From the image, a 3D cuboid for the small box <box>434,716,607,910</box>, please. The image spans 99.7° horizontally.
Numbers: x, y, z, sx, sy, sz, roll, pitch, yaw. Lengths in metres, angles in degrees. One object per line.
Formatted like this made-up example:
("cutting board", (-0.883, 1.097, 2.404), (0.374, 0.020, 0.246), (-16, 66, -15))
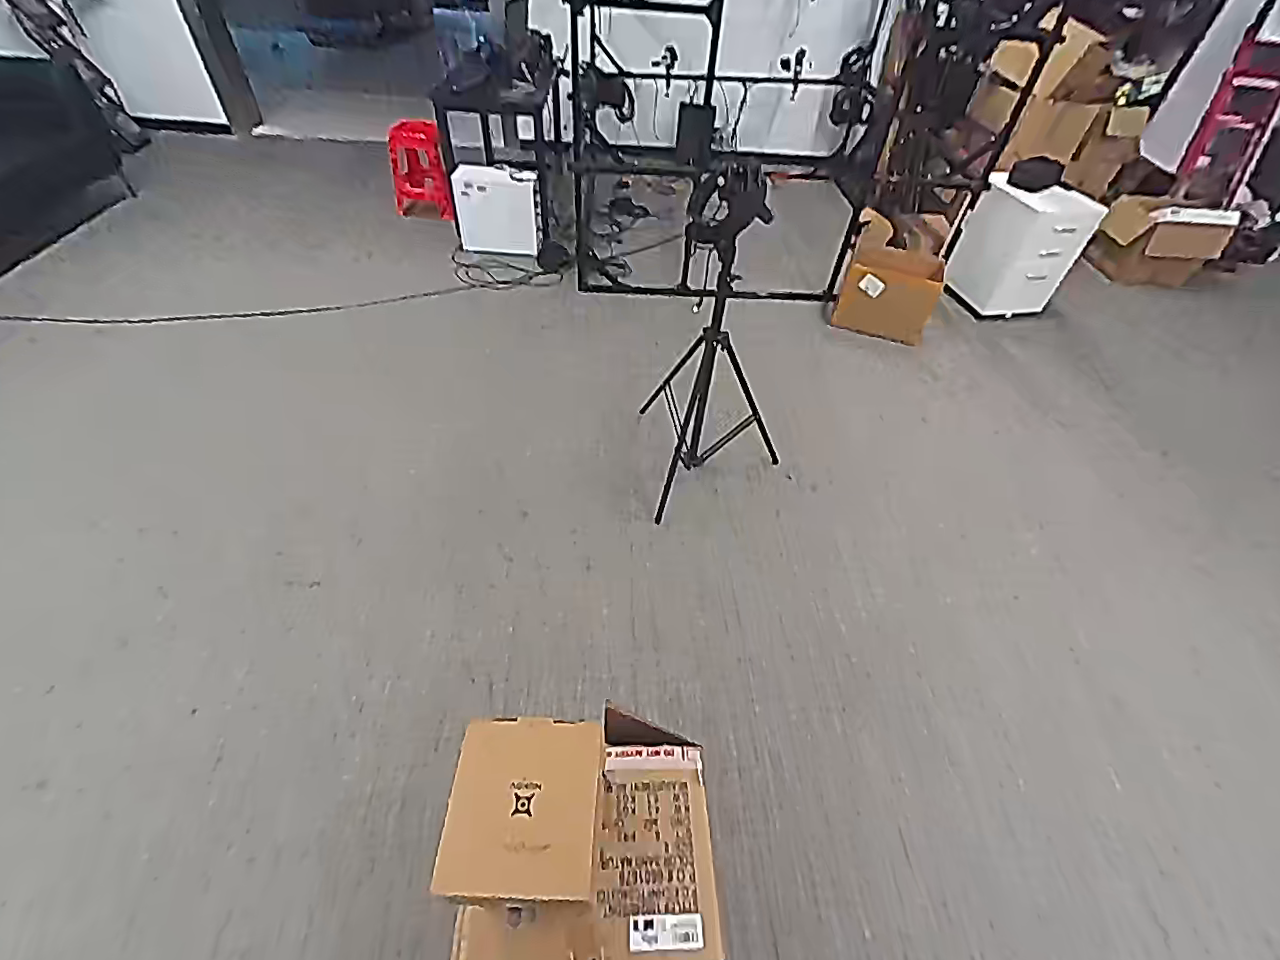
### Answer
("small box", (-0.128, 0.407, 0.660), (0.168, 0.176, 0.179), (1, 50, 0))
